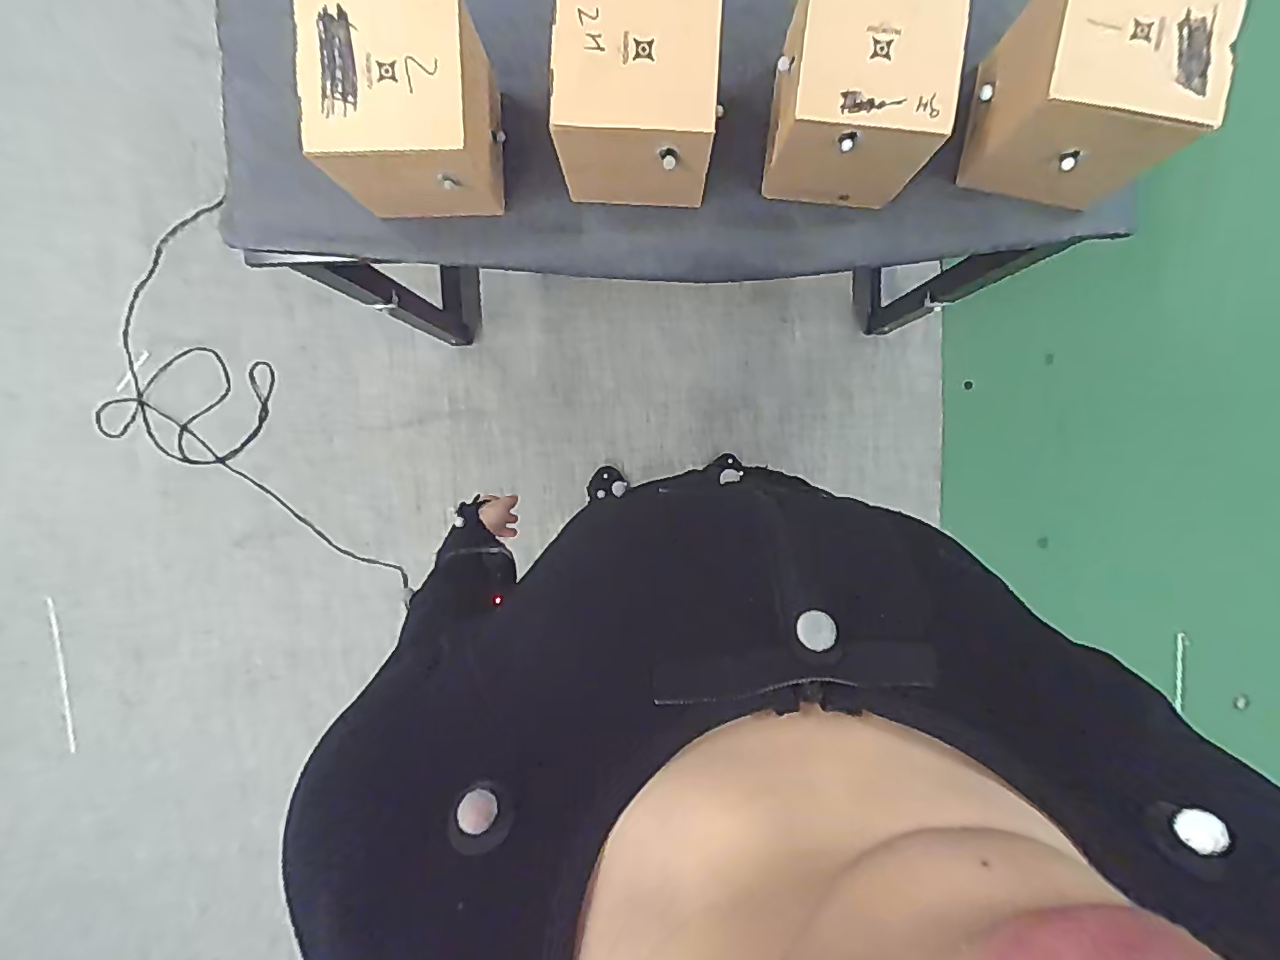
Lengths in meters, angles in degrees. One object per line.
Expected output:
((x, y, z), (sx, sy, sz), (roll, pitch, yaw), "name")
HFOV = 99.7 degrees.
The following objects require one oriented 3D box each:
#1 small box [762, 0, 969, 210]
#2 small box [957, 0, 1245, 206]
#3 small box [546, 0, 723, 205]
((0.247, -0.449, 0.631), (0.168, 0.176, 0.179), (7, 92, 1), "small box")
((0.509, -0.444, 0.620), (0.179, 0.176, 0.168), (12, 90, 2), "small box")
((-0.004, -0.446, 0.637), (0.179, 0.176, 0.168), (4, 92, 2), "small box")
